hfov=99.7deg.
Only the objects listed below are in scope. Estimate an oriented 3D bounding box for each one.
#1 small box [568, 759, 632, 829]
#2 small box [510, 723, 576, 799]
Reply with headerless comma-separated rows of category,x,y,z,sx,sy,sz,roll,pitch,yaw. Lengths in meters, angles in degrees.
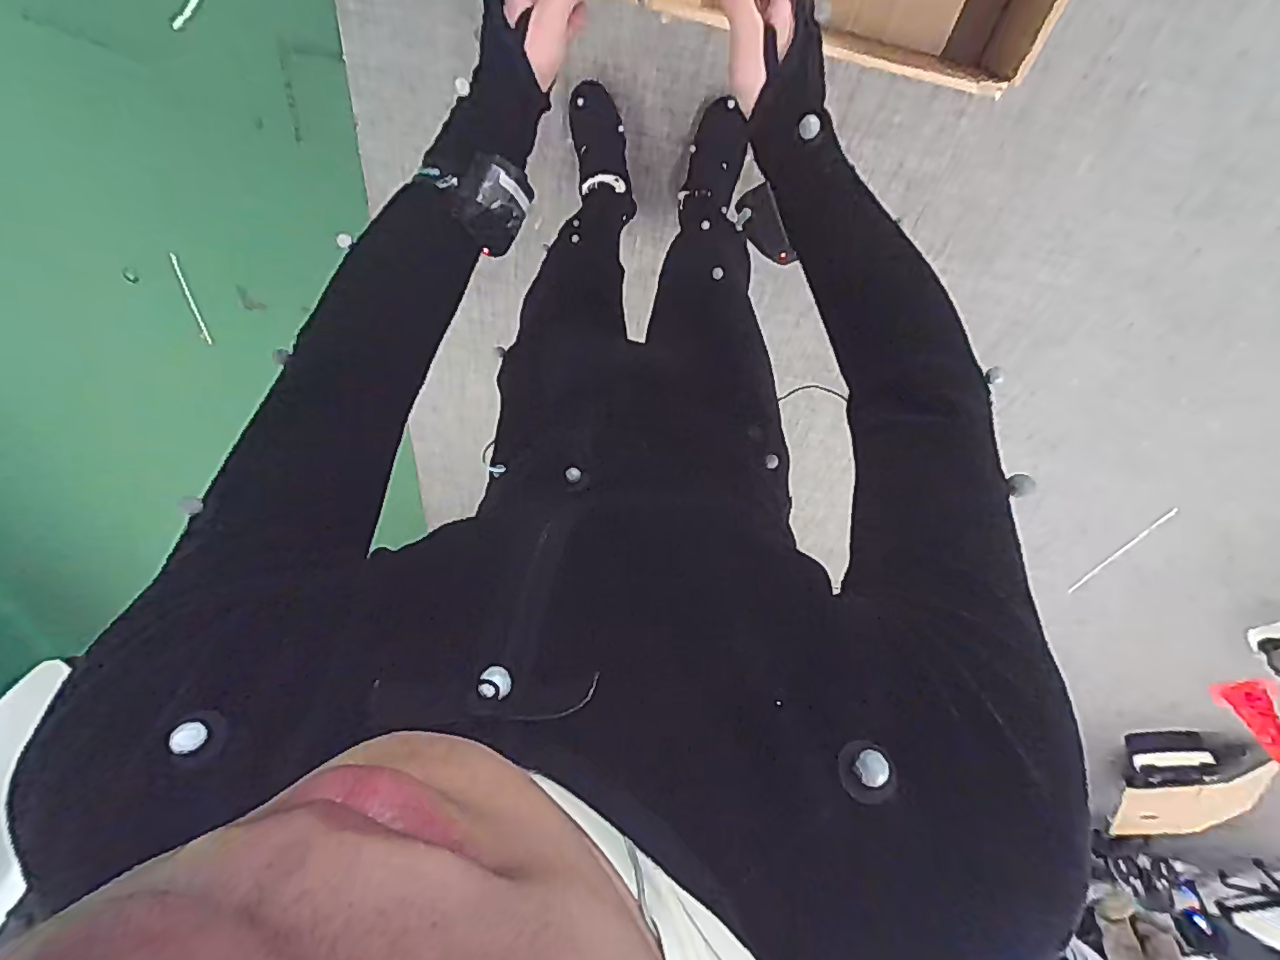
small box,-0.142,1.129,1.952,0.179,0.176,0.168,18,135,-6
small box,-0.312,0.926,1.785,0.168,0.176,0.179,6,136,5
